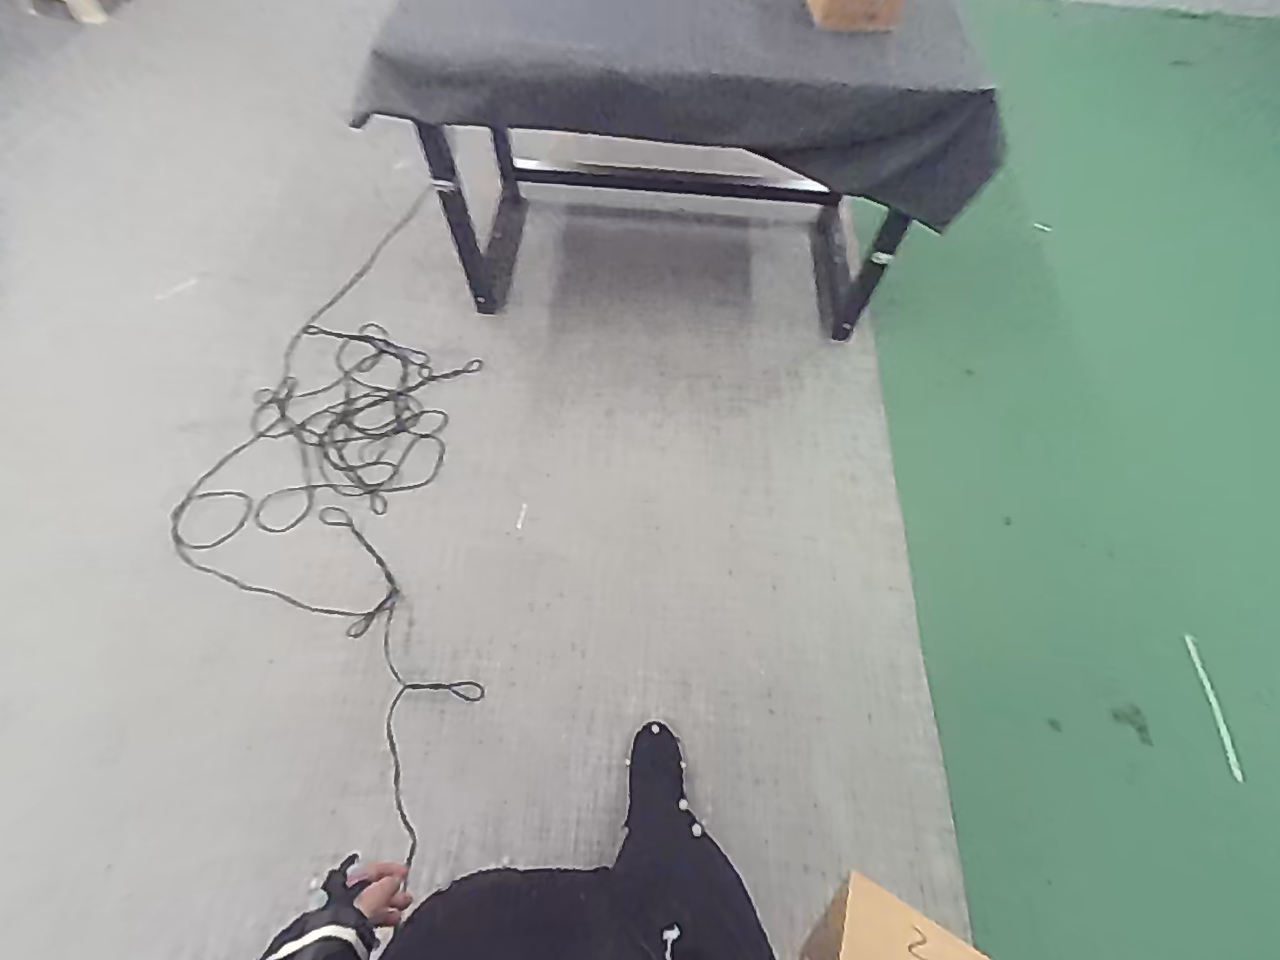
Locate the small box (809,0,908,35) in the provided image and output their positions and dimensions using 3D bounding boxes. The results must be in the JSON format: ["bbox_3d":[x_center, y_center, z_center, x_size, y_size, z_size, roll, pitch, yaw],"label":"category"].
[{"bbox_3d":[0.456,-1.038,1.094,0.168,0.176,0.179,-2,62,-4],"label":"small box"}]
